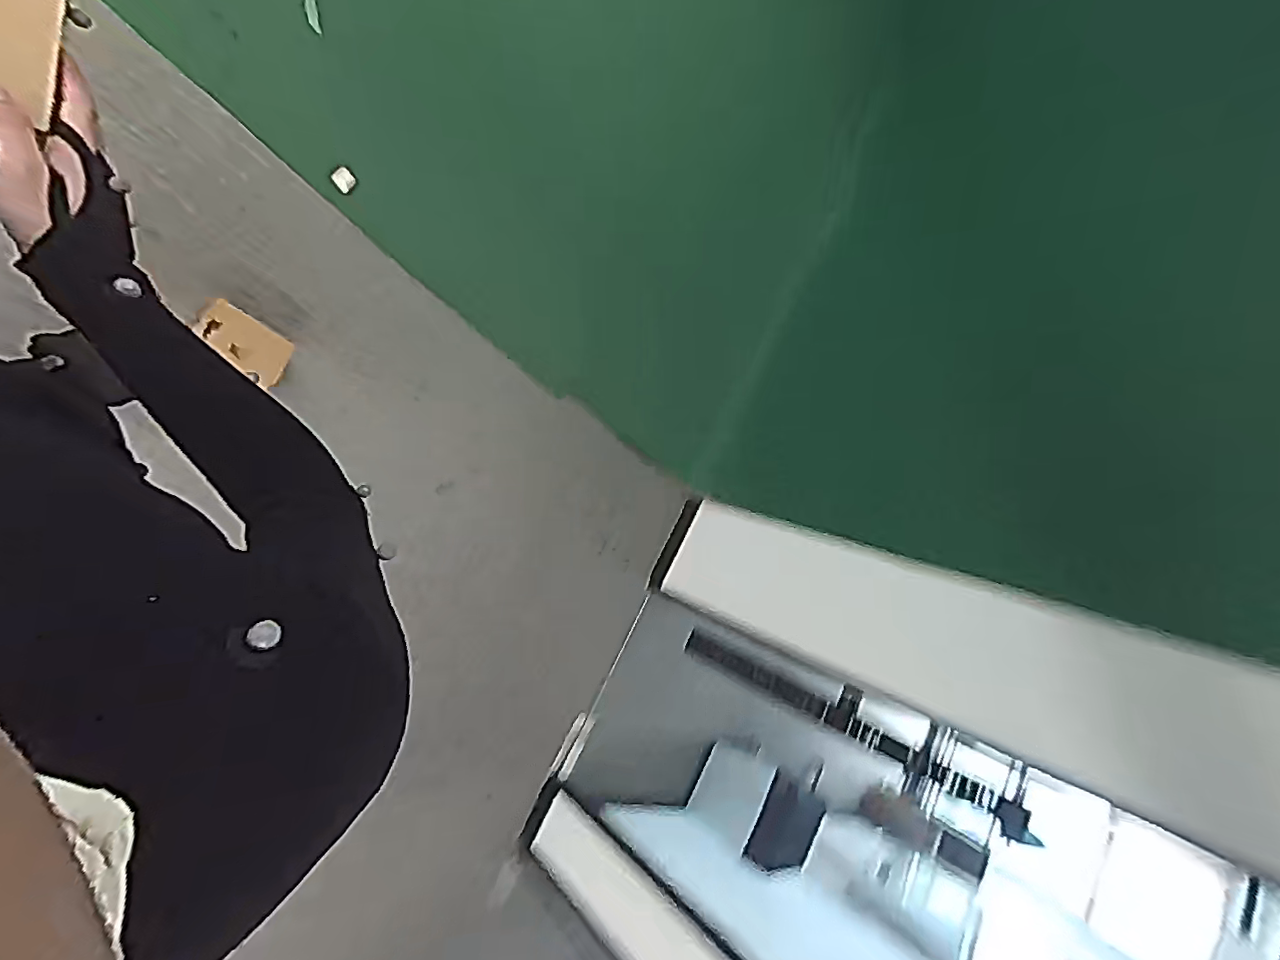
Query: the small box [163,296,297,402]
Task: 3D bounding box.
[{"bbox_3d":[-0.939,-0.304,1.237,0.179,0.176,0.168,42,72,-45],"label":"small box"}]
